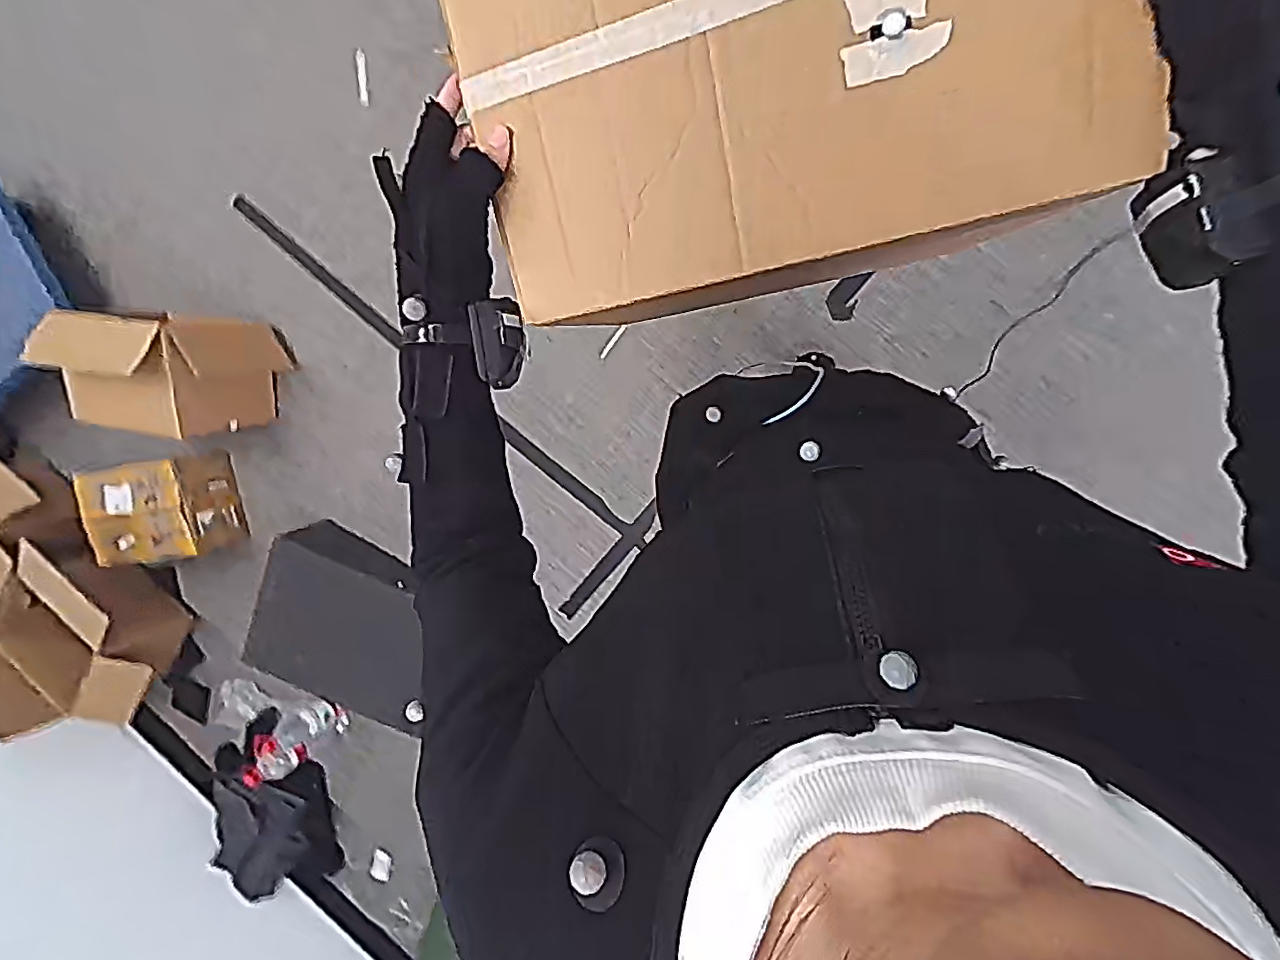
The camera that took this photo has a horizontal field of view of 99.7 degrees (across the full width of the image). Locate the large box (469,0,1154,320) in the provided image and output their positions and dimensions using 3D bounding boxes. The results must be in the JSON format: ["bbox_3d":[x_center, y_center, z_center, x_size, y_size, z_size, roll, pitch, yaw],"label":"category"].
[{"bbox_3d":[0.111,-0.342,0.476,0.408,0.320,0.320,-8,104,13],"label":"large box"}]
